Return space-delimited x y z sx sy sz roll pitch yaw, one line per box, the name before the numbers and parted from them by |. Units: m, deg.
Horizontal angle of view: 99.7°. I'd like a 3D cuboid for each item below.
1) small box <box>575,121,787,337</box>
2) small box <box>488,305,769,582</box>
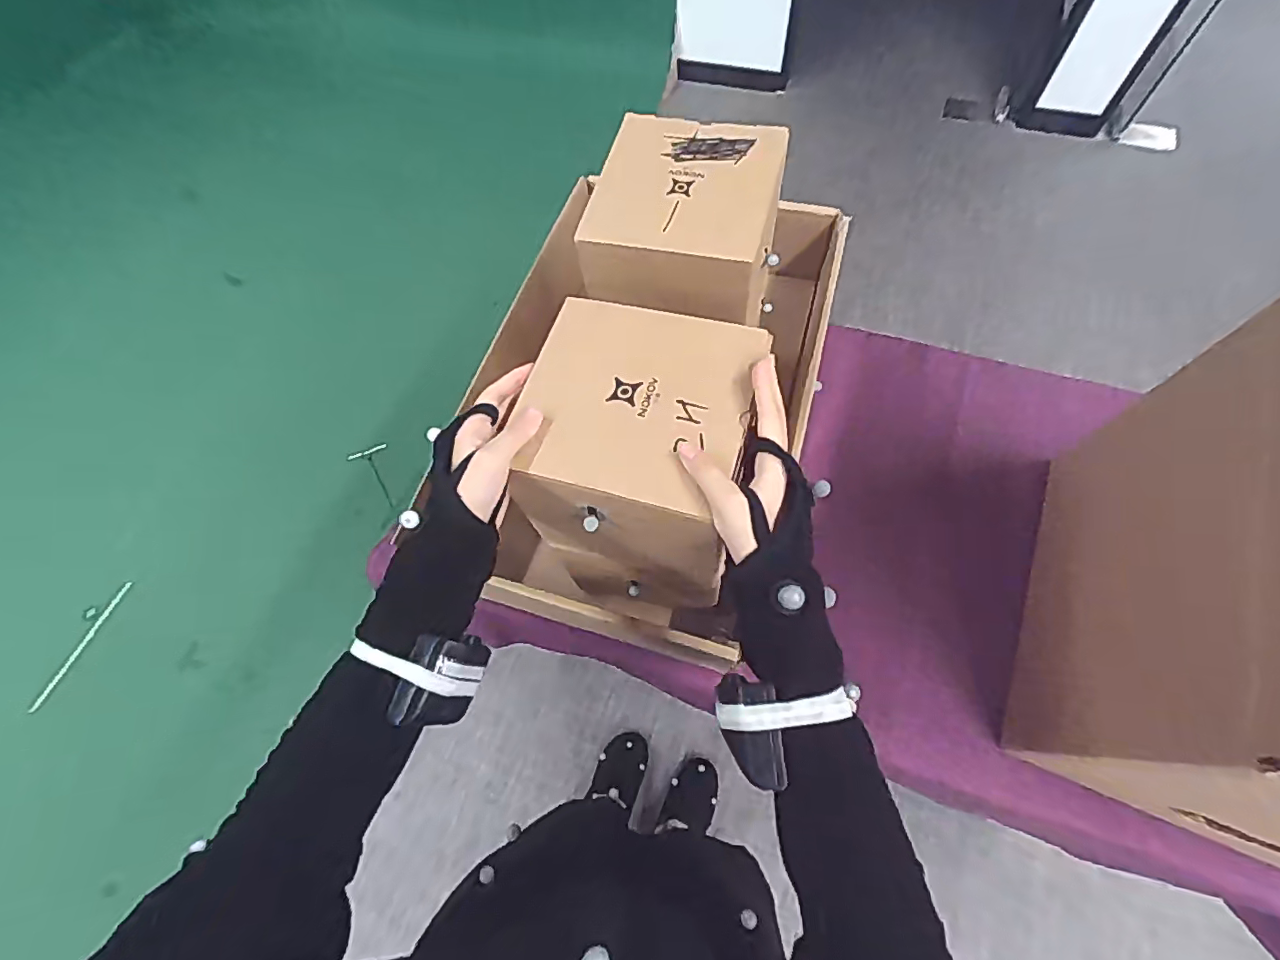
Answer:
small box | 0.048 -0.239 0.577 0.168 0.176 0.179 13 69 12
small box | 0.001 -0.023 0.479 0.179 0.176 0.168 15 68 12
